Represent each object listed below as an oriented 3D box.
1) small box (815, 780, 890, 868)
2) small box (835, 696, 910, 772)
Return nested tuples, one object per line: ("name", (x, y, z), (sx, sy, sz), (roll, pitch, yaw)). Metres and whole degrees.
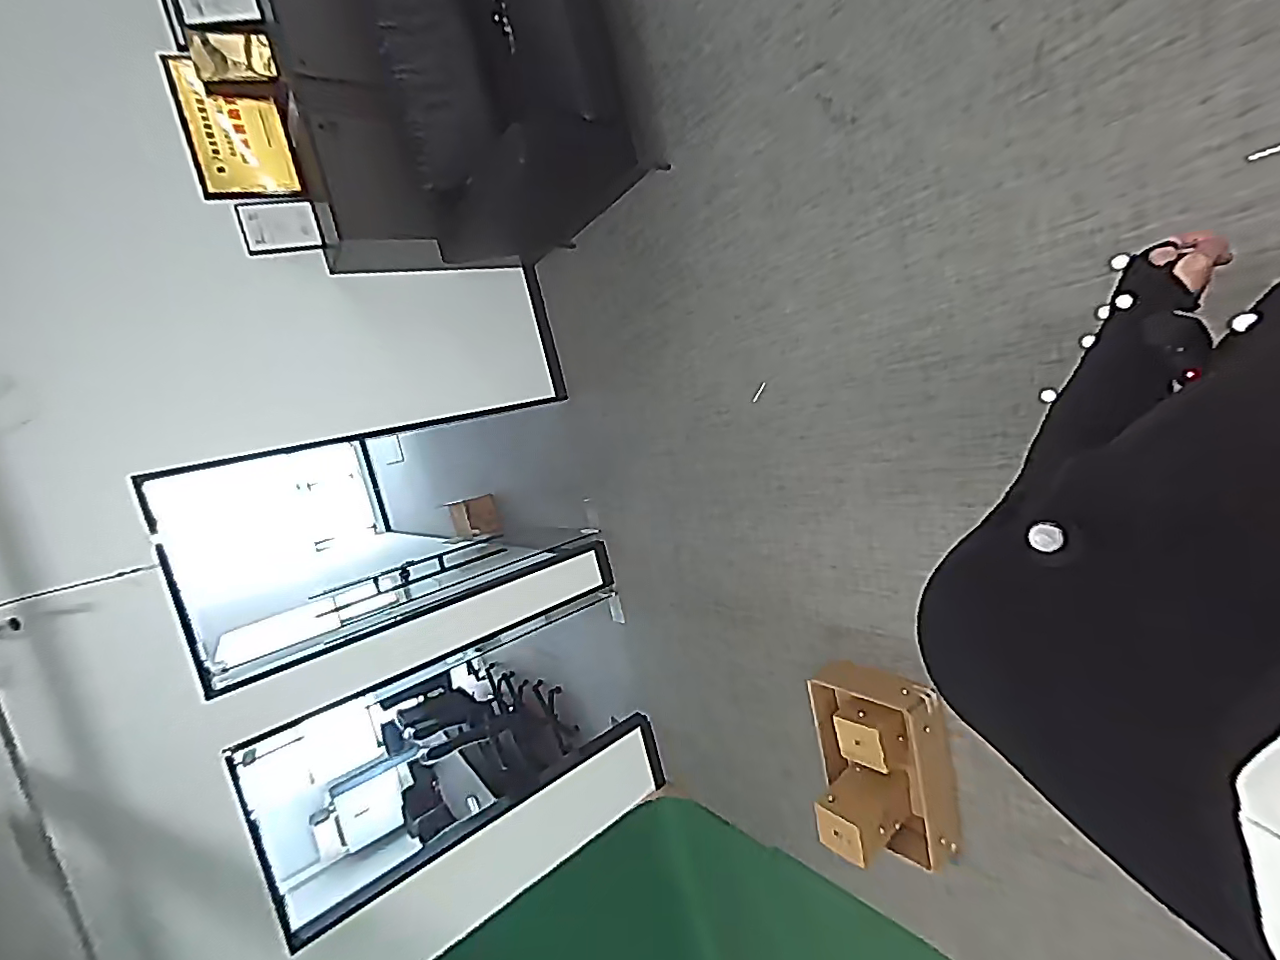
("small box", (0.746, 1.193, 1.895), (0.179, 0.176, 0.168), (0, 104, 54))
("small box", (0.835, 0.901, 1.942), (0.179, 0.176, 0.168), (-7, 99, 53))
